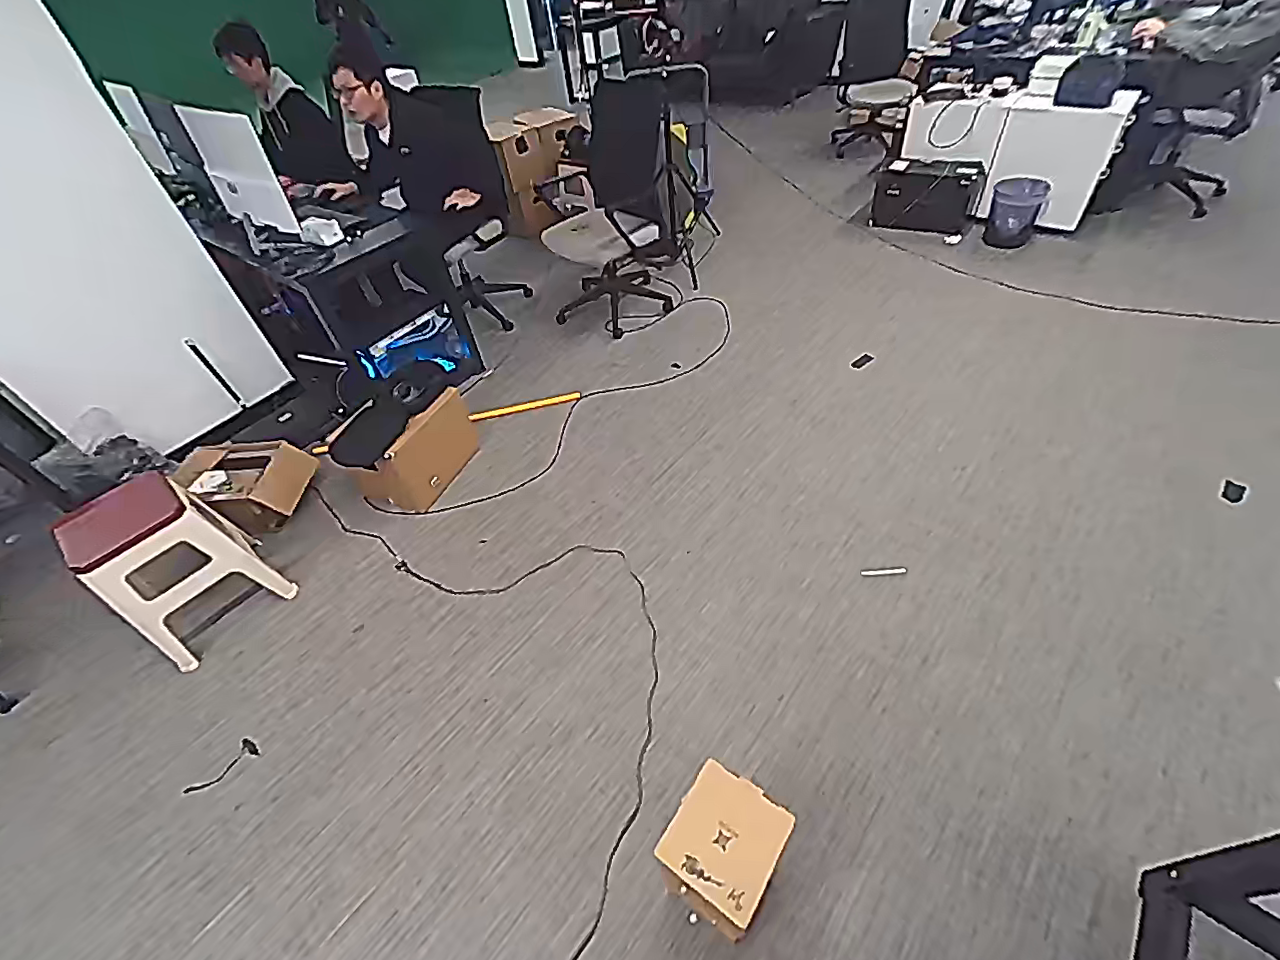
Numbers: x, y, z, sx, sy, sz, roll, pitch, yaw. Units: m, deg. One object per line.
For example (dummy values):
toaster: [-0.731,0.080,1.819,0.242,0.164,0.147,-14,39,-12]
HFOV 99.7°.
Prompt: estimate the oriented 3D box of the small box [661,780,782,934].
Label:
small box: [0.158,0.730,1.044,0.168,0.176,0.179,22,52,25]

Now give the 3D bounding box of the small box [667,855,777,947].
small box: [0.173,0.846,1.155,0.168,0.176,0.179,24,55,28]
